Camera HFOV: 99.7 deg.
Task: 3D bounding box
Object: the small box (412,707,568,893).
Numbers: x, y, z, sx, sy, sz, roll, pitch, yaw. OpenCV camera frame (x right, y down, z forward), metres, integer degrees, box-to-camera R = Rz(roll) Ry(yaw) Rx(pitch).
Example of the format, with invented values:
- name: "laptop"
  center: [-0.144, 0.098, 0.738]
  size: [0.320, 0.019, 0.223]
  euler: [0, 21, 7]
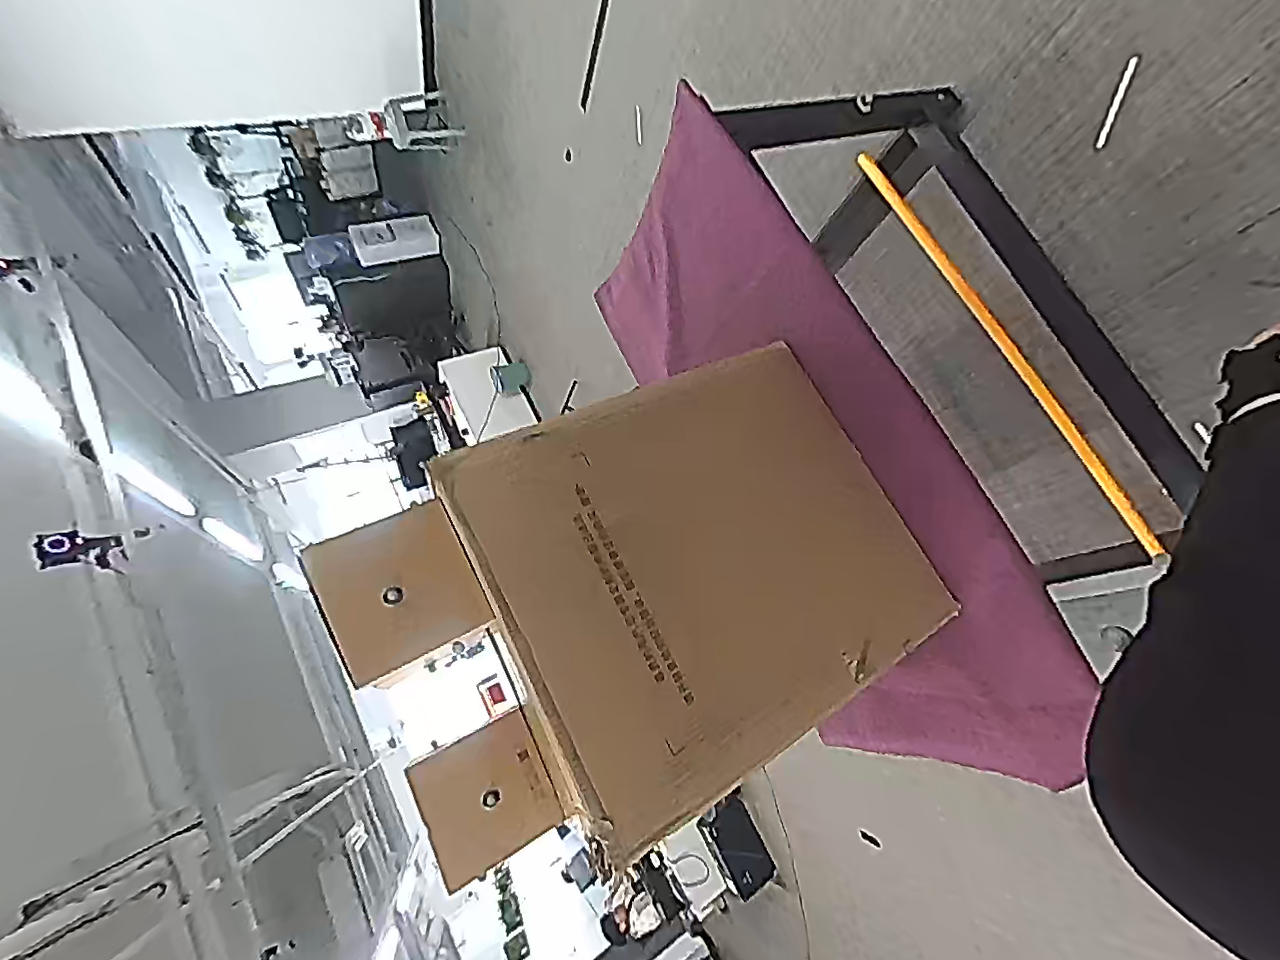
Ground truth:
- name: "small box"
  center: [-0.222, 0.458, 0.809]
  size: [0.168, 0.176, 0.179]
  euler: [64, 155, 13]
